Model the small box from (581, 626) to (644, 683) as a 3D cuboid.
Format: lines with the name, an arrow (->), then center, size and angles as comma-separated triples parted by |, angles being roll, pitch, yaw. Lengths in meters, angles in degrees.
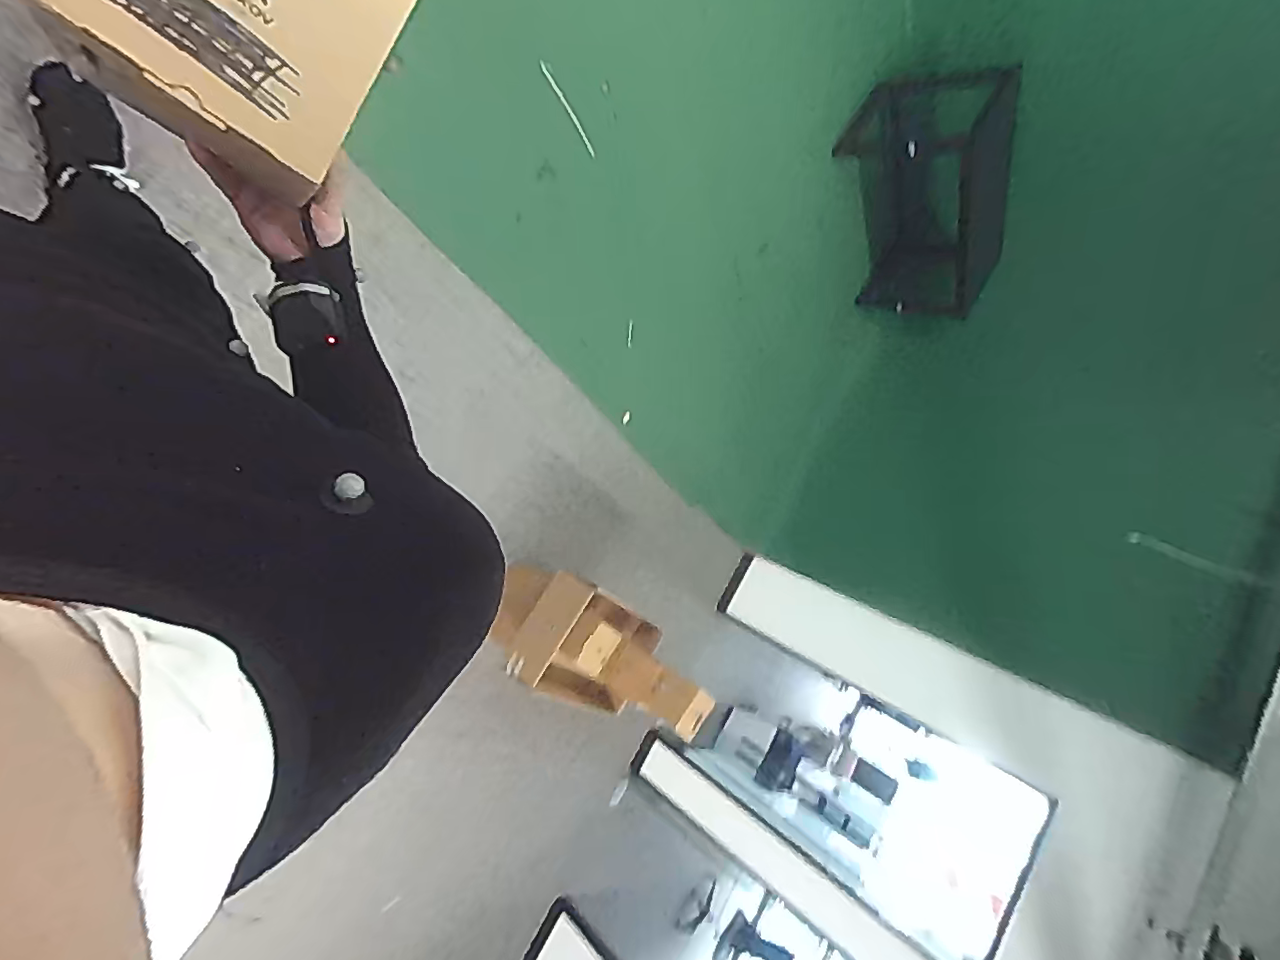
small box -> -0.094, 0.694, 2.115 | 0.168, 0.176, 0.179 | -59, 141, -12

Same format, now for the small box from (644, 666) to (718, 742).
small box -> 0.146, 0.789, 1.915 | 0.168, 0.176, 0.179 | -52, 138, -18

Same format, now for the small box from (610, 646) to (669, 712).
small box -> 0.022, 0.742, 2.013 | 0.168, 0.176, 0.179 | -58, 140, -11
